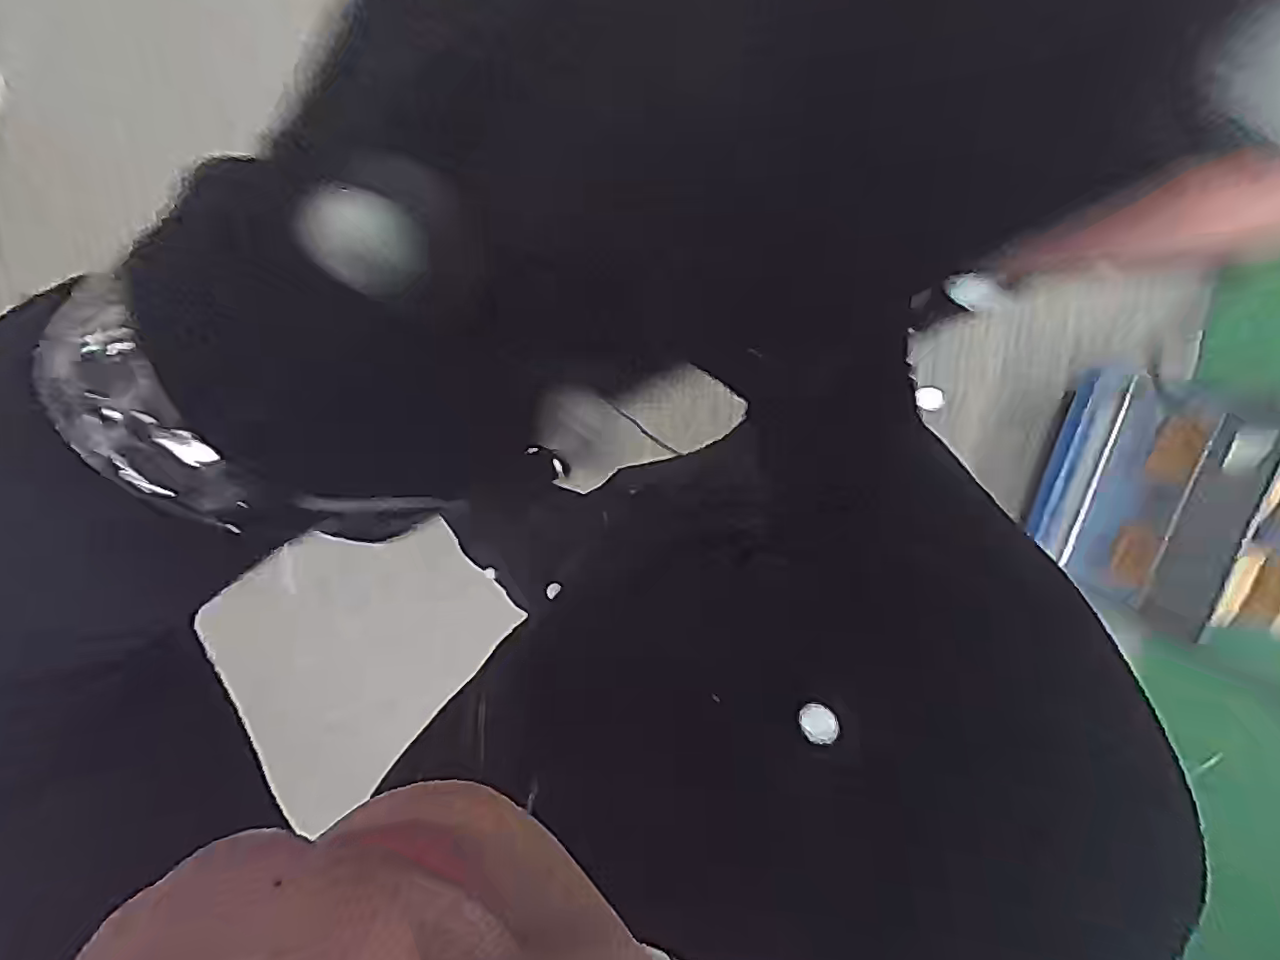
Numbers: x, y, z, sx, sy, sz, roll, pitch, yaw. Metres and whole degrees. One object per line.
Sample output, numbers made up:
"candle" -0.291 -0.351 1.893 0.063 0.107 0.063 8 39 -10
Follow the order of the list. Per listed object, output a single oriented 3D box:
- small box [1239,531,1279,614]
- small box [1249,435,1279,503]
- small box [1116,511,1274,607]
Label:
"small box" 1.594 0.233 1.325 0.179 0.176 0.168 7 101 -3
"small box" 1.625 -0.012 1.273 0.179 0.176 0.168 7 103 -4
"small box" 1.328 0.184 1.307 0.179 0.176 0.168 11 102 -4
